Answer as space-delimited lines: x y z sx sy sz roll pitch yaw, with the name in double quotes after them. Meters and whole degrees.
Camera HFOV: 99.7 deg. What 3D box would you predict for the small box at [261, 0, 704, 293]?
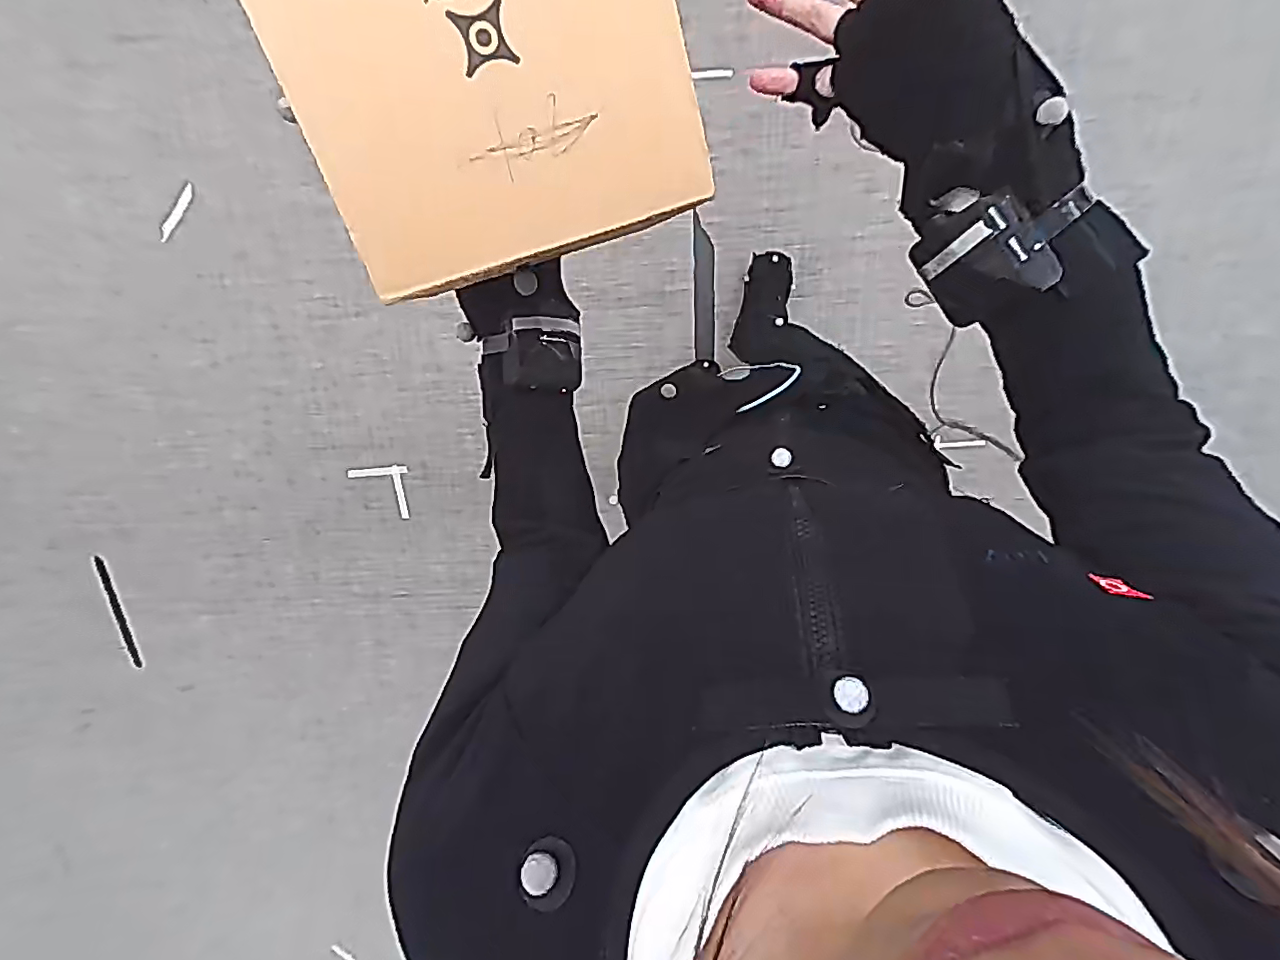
-0.082 -0.216 0.308 0.168 0.176 0.179 -19 112 -4 "small box"
